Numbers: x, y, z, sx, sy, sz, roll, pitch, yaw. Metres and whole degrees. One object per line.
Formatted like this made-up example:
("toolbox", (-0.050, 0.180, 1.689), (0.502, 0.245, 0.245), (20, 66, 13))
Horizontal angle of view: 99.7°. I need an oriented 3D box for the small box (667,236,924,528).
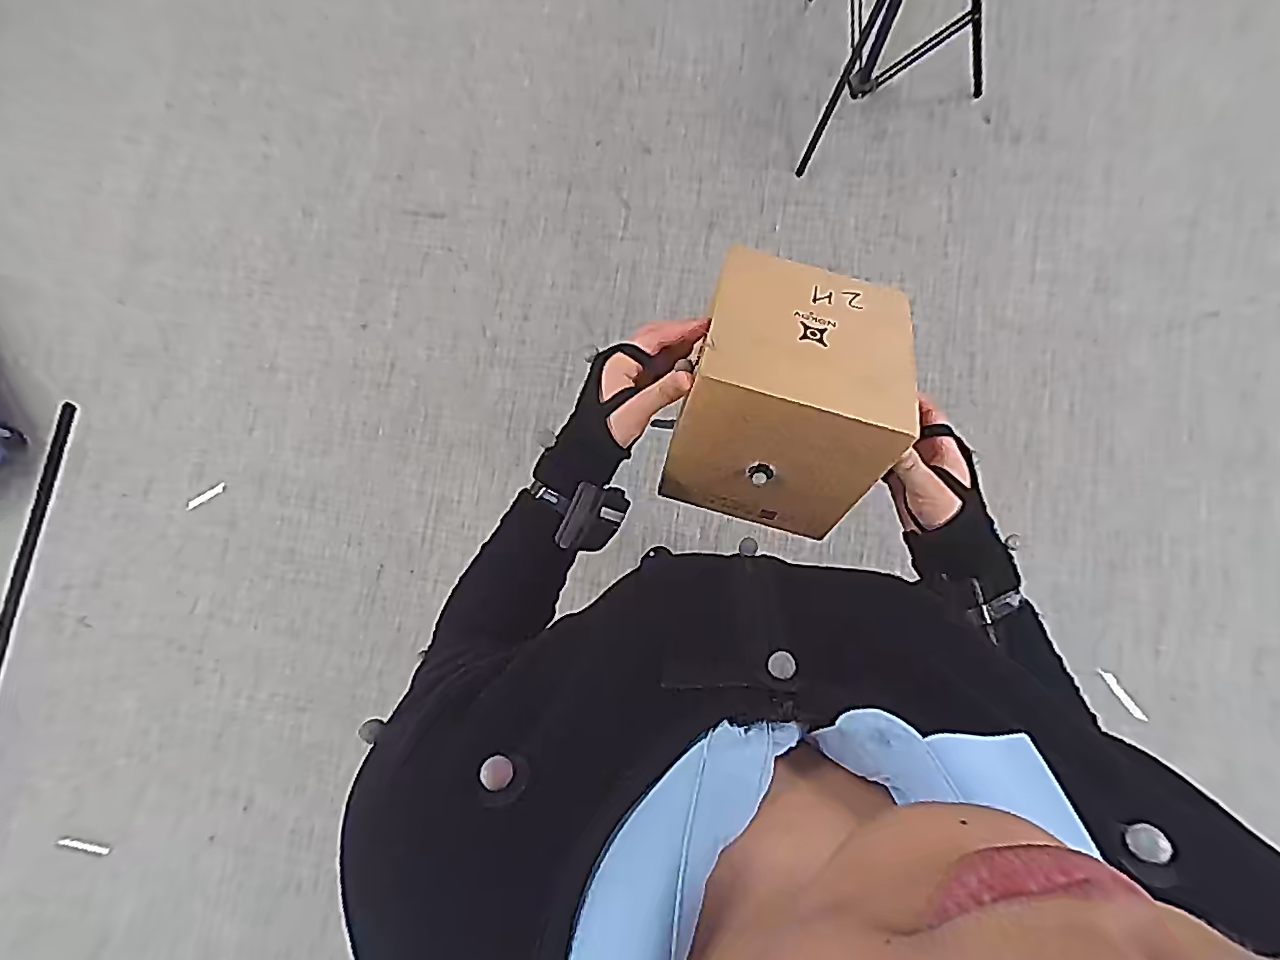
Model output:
("small box", (0.128, -0.080, 0.491), (0.168, 0.176, 0.179), (16, 55, 0))
